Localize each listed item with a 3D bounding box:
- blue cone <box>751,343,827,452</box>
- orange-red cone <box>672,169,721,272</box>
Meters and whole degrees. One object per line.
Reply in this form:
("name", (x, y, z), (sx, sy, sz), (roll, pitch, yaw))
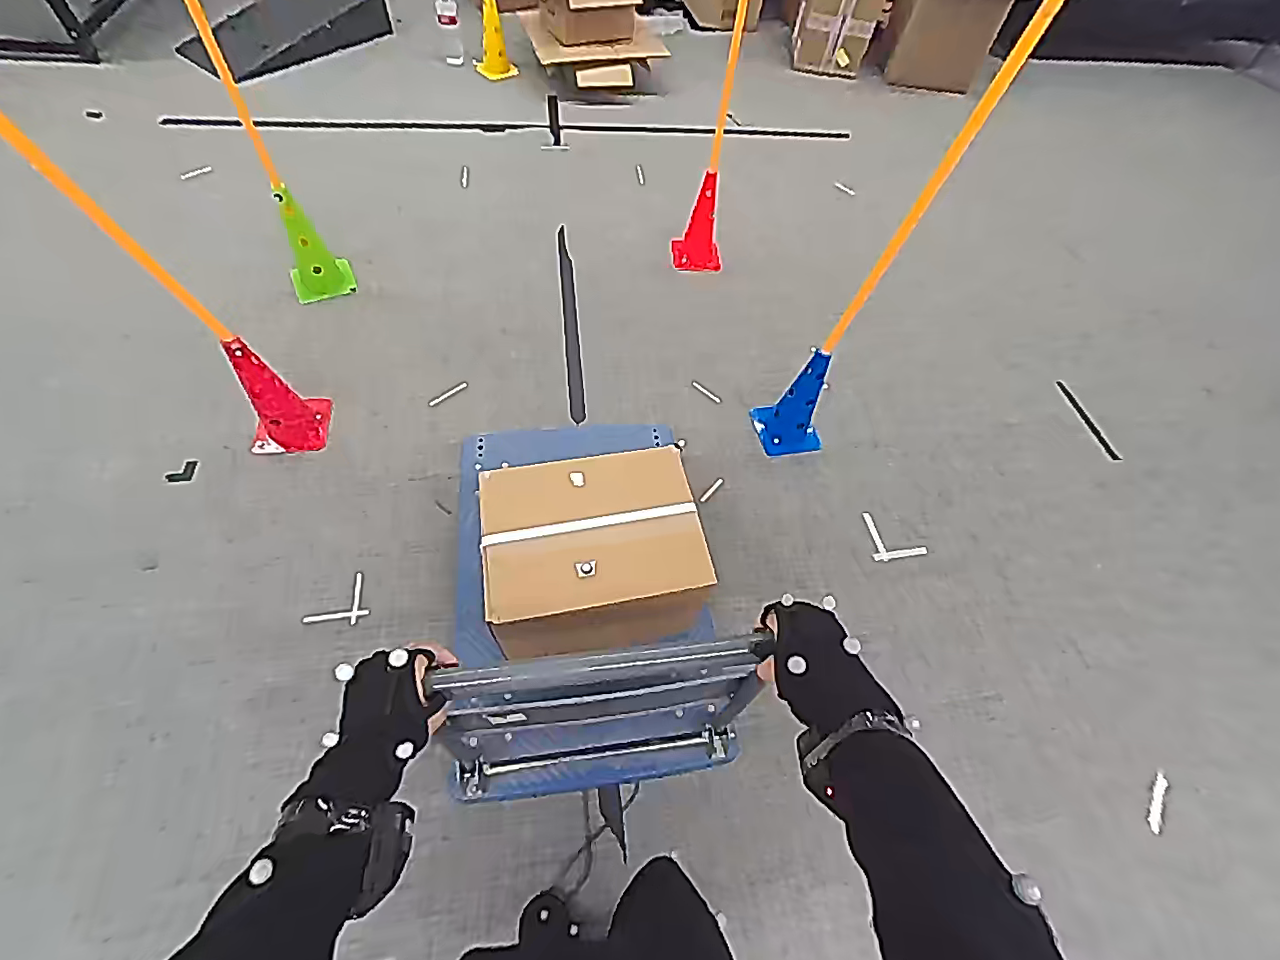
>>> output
("blue cone", (0.498, -0.265, 1.671), (0.193, 0.380, 0.192), (-7, 58, -11))
("orange-red cone", (0.251, -1.026, 2.107), (0.199, 0.360, 0.198), (2, 58, -6))
